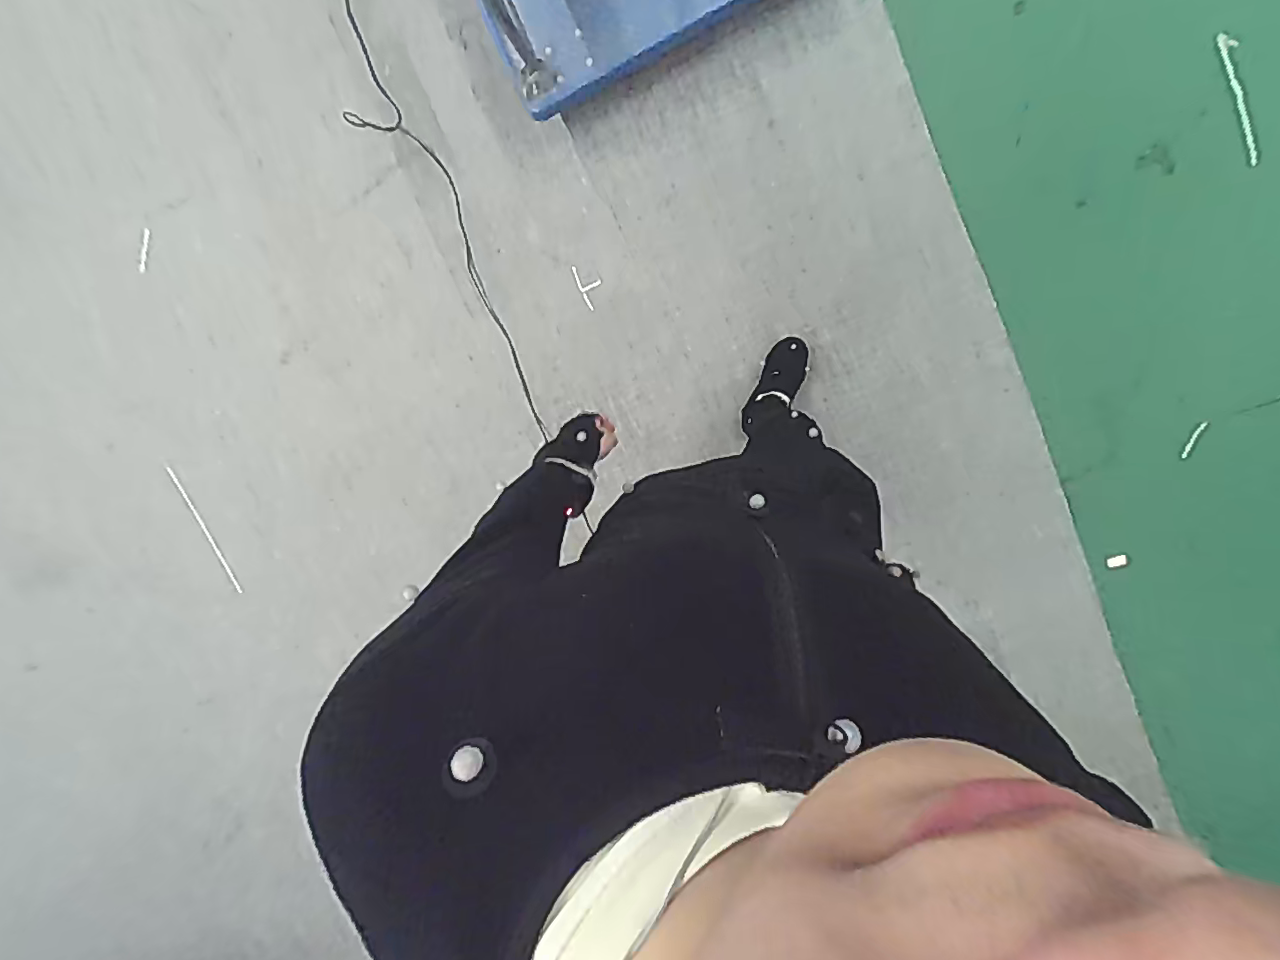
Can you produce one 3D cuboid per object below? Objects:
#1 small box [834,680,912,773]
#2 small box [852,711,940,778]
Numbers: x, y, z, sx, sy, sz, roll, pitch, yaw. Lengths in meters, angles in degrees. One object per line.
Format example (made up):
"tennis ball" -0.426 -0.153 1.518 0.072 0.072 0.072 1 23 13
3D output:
"small box" 0.694 0.715 1.586 0.179 0.176 0.168 -18 96 9
"small box" 0.679 0.735 1.424 0.168 0.176 0.179 -18 95 9
